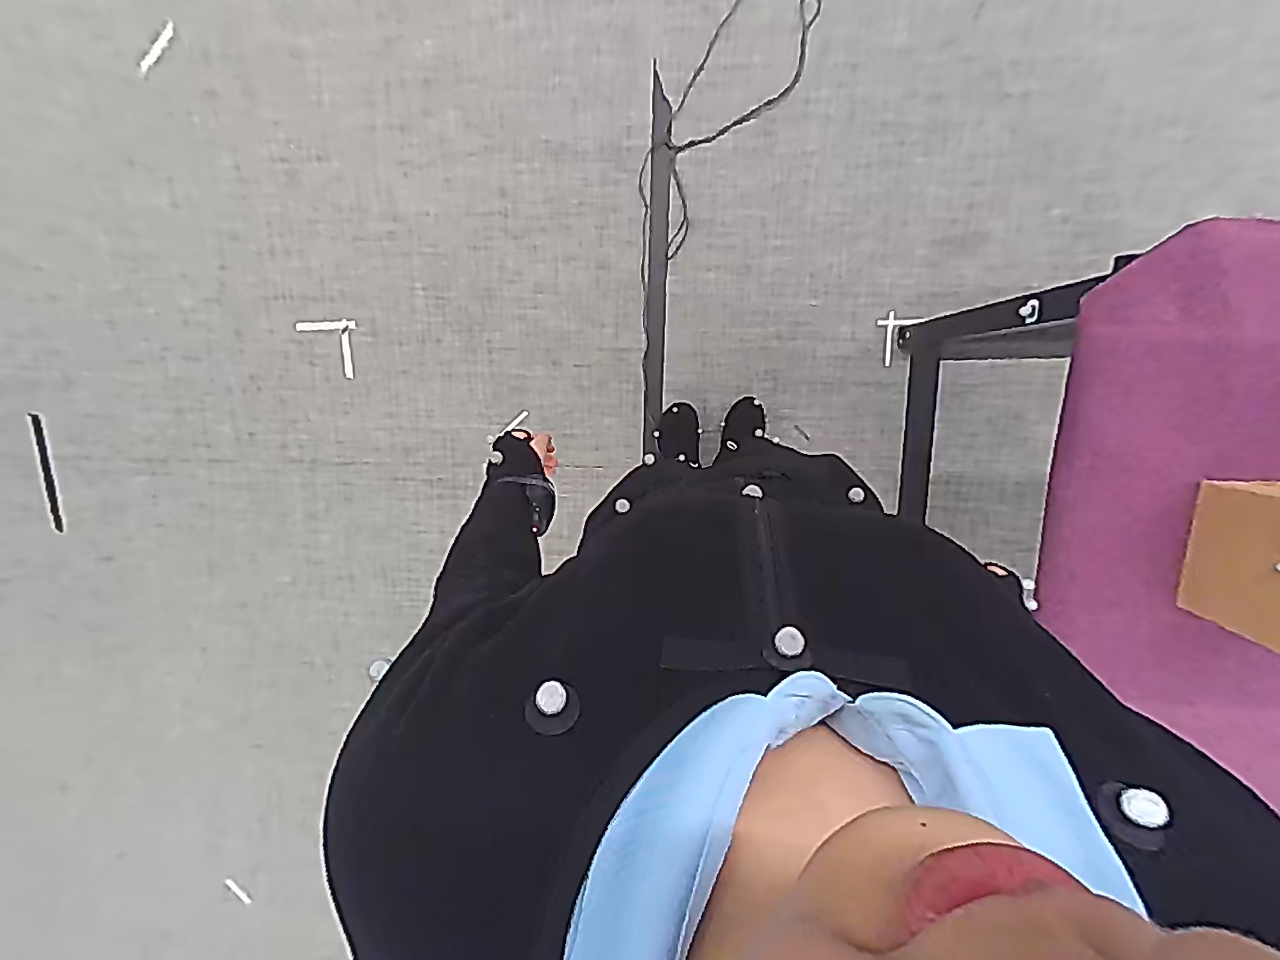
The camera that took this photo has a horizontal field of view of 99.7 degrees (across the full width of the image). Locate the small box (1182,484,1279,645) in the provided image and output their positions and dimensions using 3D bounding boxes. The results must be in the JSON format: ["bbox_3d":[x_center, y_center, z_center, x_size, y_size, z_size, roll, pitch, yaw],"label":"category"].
[{"bbox_3d":[0.806,0.103,0.636,0.168,0.176,0.179,1,101,4],"label":"small box"}]

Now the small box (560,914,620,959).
[{"bbox_3d":[-0.153,1.480,1.657,0.168,0.176,0.179,-2,101,5],"label":"small box"}]
